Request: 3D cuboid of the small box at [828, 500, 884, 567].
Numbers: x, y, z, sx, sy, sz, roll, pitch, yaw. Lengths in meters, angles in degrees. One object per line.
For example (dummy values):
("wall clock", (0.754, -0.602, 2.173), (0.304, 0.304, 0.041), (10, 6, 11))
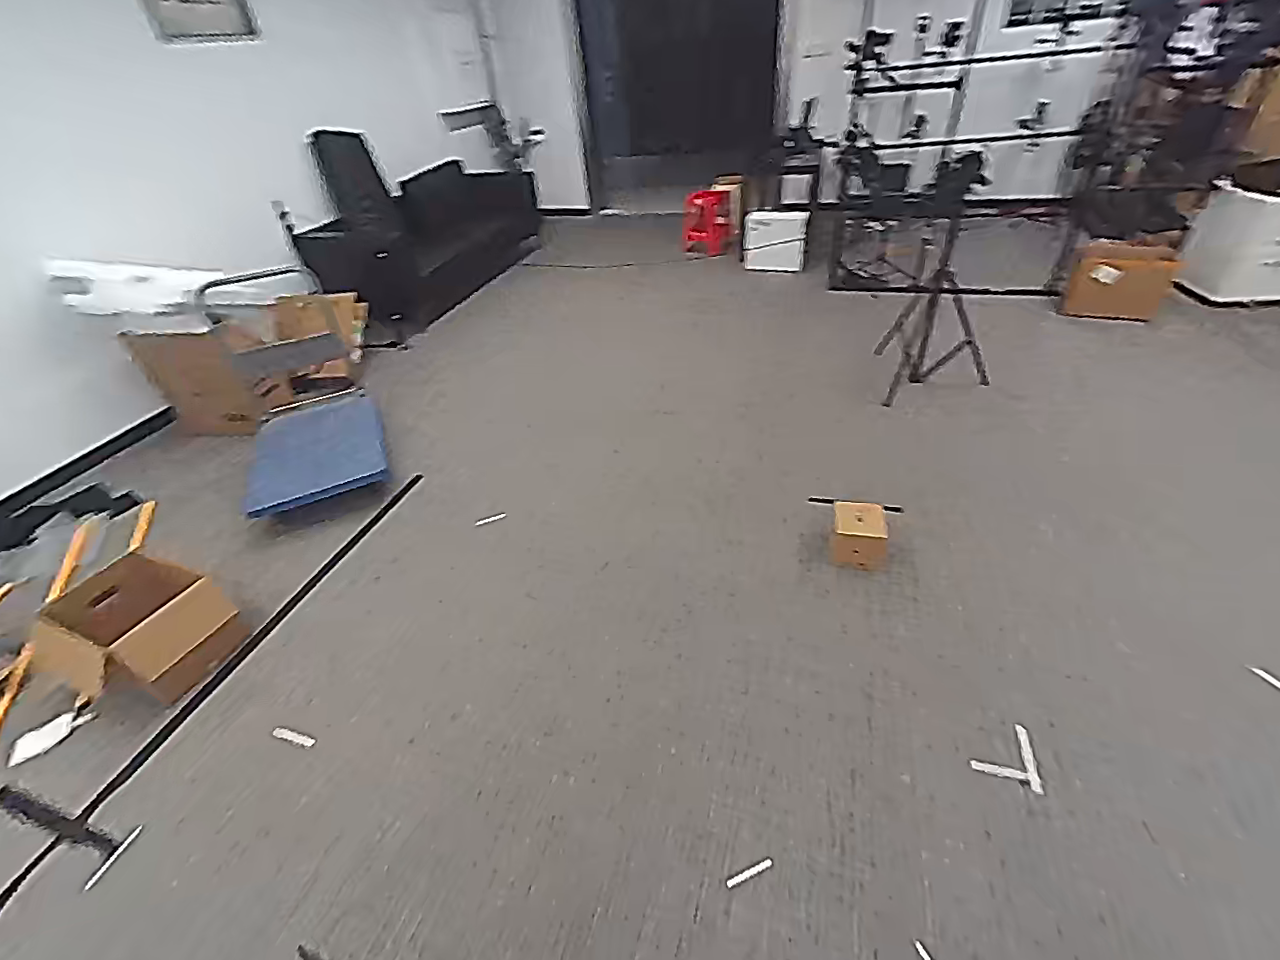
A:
("small box", (0.781, 0.197, 1.968), (0.168, 0.176, 0.179), (5, 39, 13))
